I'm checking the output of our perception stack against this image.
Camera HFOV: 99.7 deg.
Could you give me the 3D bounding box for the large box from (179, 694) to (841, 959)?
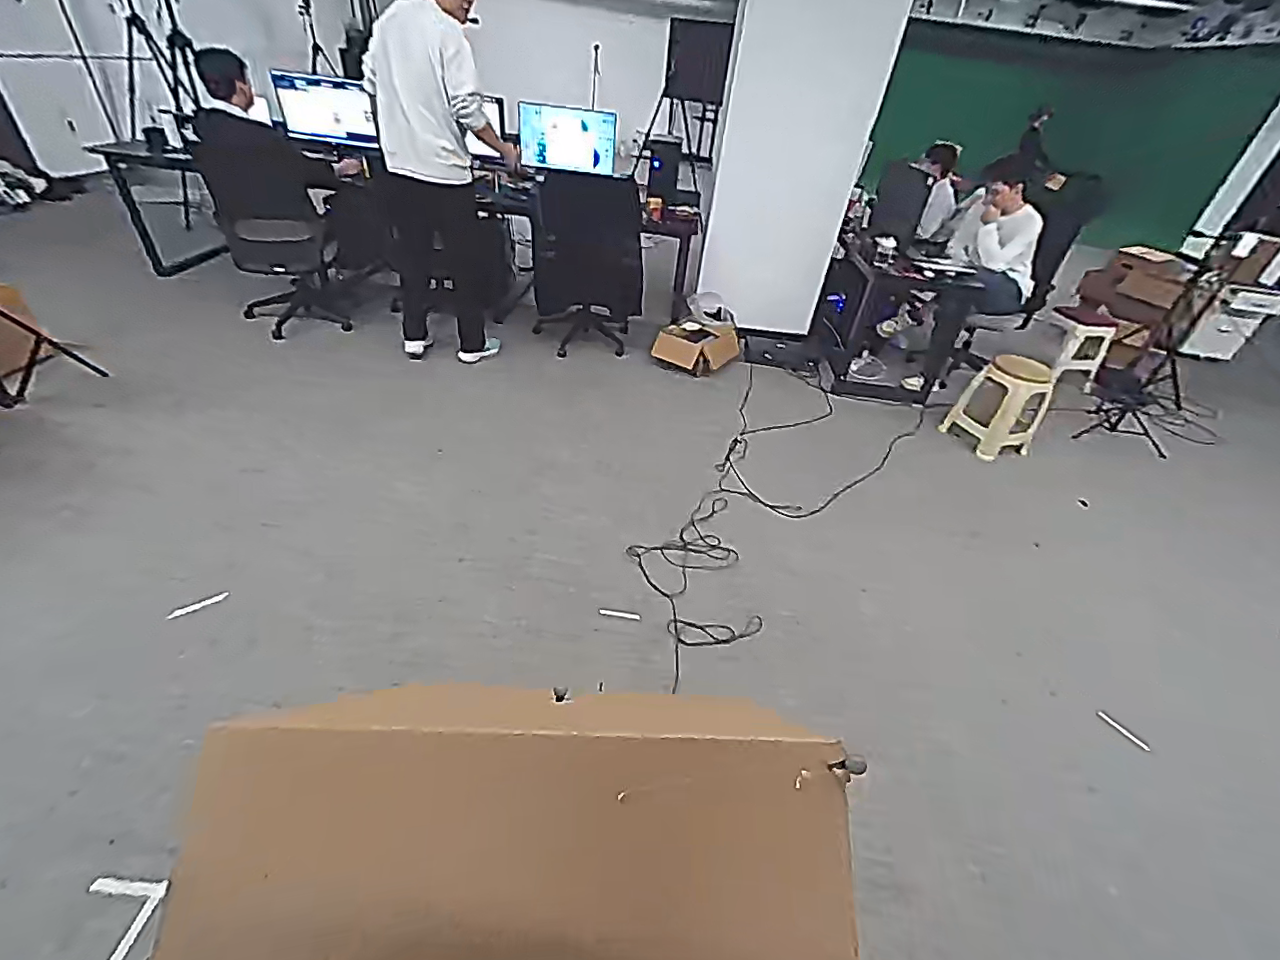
[{"bbox_3d":[-0.081,0.357,0.458,0.408,0.320,0.320,1,75,-1],"label":"large box"}]
